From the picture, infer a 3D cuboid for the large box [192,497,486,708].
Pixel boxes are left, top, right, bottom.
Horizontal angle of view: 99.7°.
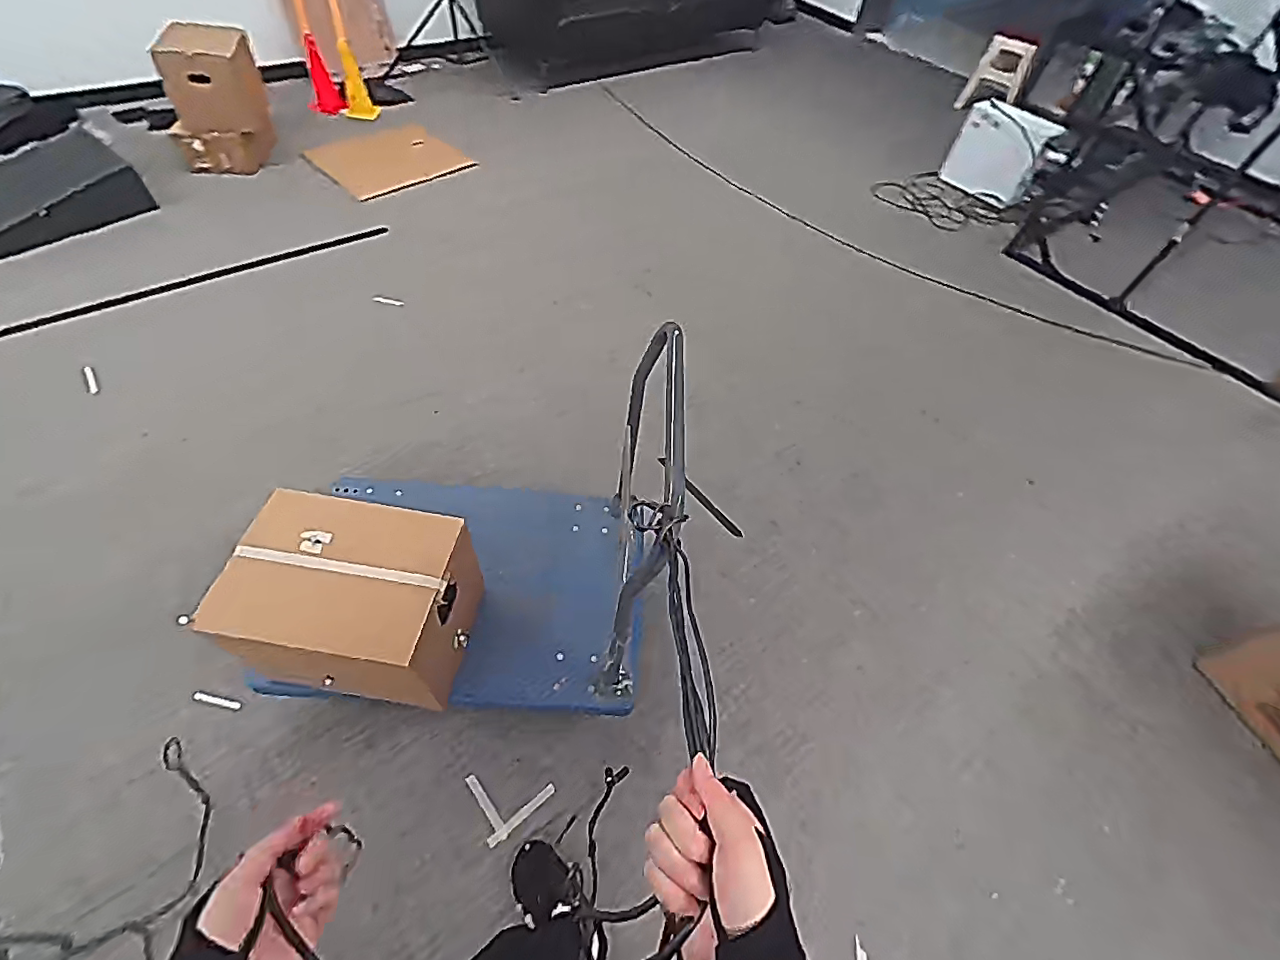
[{"bbox_3d":[-0.583,0.269,1.152,0.408,0.320,0.320,9,52,1],"label":"large box"}]
